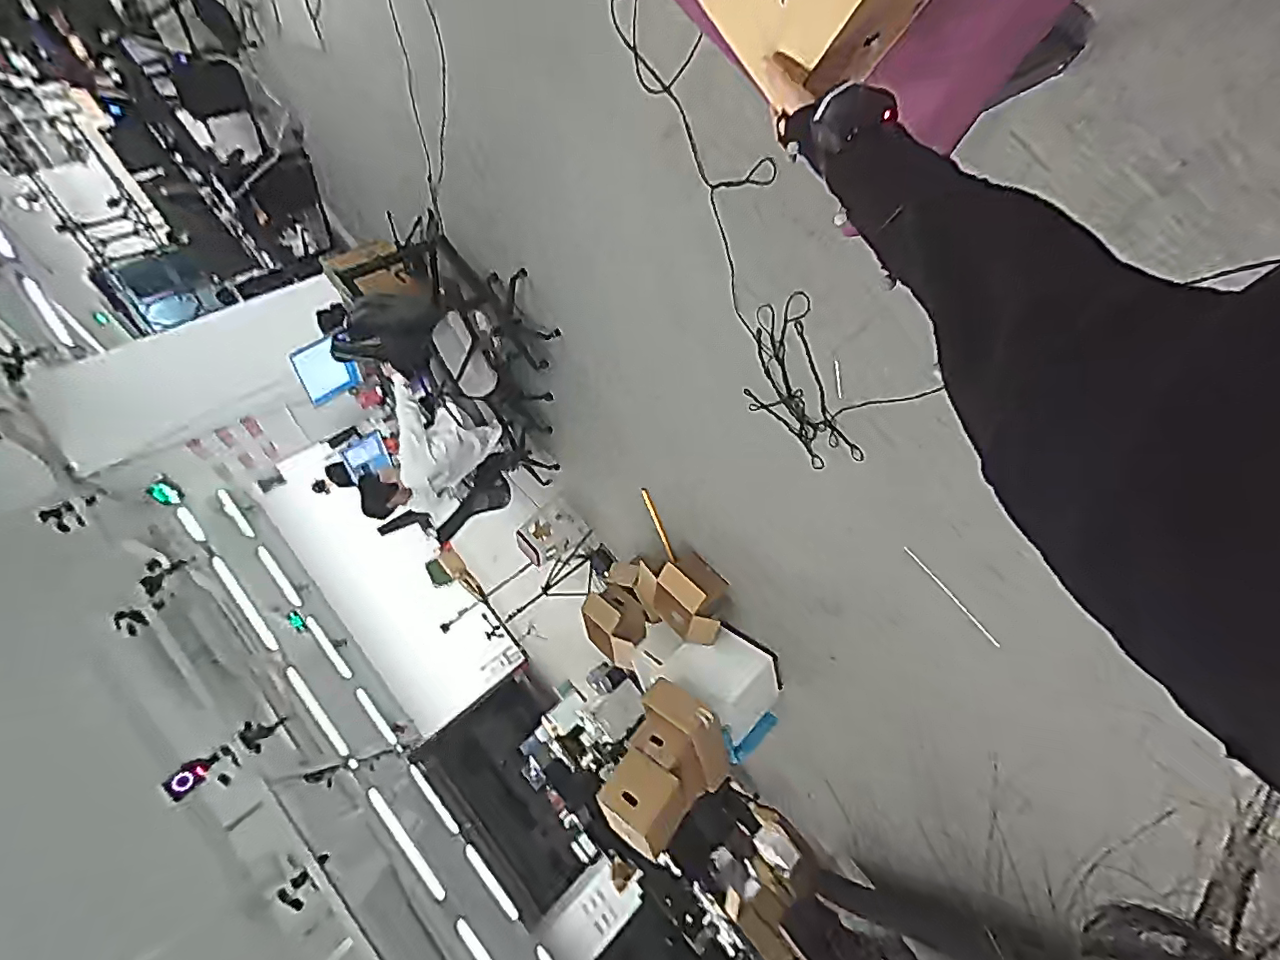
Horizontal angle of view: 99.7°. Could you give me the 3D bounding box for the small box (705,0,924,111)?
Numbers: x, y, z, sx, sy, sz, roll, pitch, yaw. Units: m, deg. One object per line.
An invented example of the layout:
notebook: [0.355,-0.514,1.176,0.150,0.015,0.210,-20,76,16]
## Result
small box: [0.202,-0.547,0.573,0.179,0.176,0.168,54,153,-1]
